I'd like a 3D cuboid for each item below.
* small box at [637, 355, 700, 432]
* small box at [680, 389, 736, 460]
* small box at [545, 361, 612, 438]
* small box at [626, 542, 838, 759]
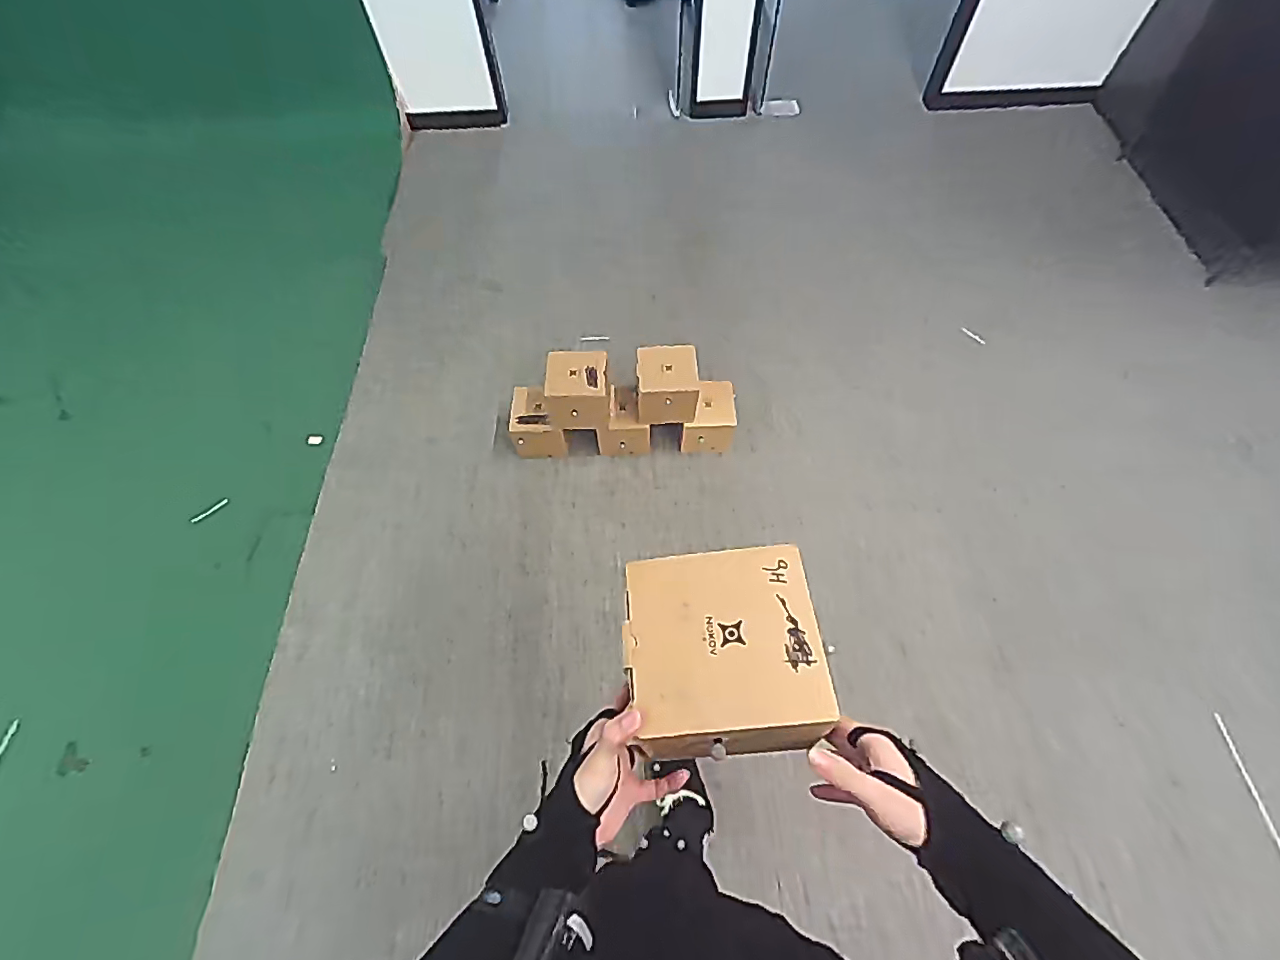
[{"bbox_3d":[0.081,-0.257,1.634,0.179,0.176,0.168,-3,61,-2],"label":"small box"},{"bbox_3d":[0.219,-0.176,1.773,0.168,0.176,0.179,-2,61,0],"label":"small box"},{"bbox_3d":[-0.178,-0.239,1.627,0.179,0.176,0.168,-1,60,2],"label":"small box"},{"bbox_3d":[0.086,0.183,0.561,0.179,0.176,0.168,-7,55,4],"label":"small box"}]
